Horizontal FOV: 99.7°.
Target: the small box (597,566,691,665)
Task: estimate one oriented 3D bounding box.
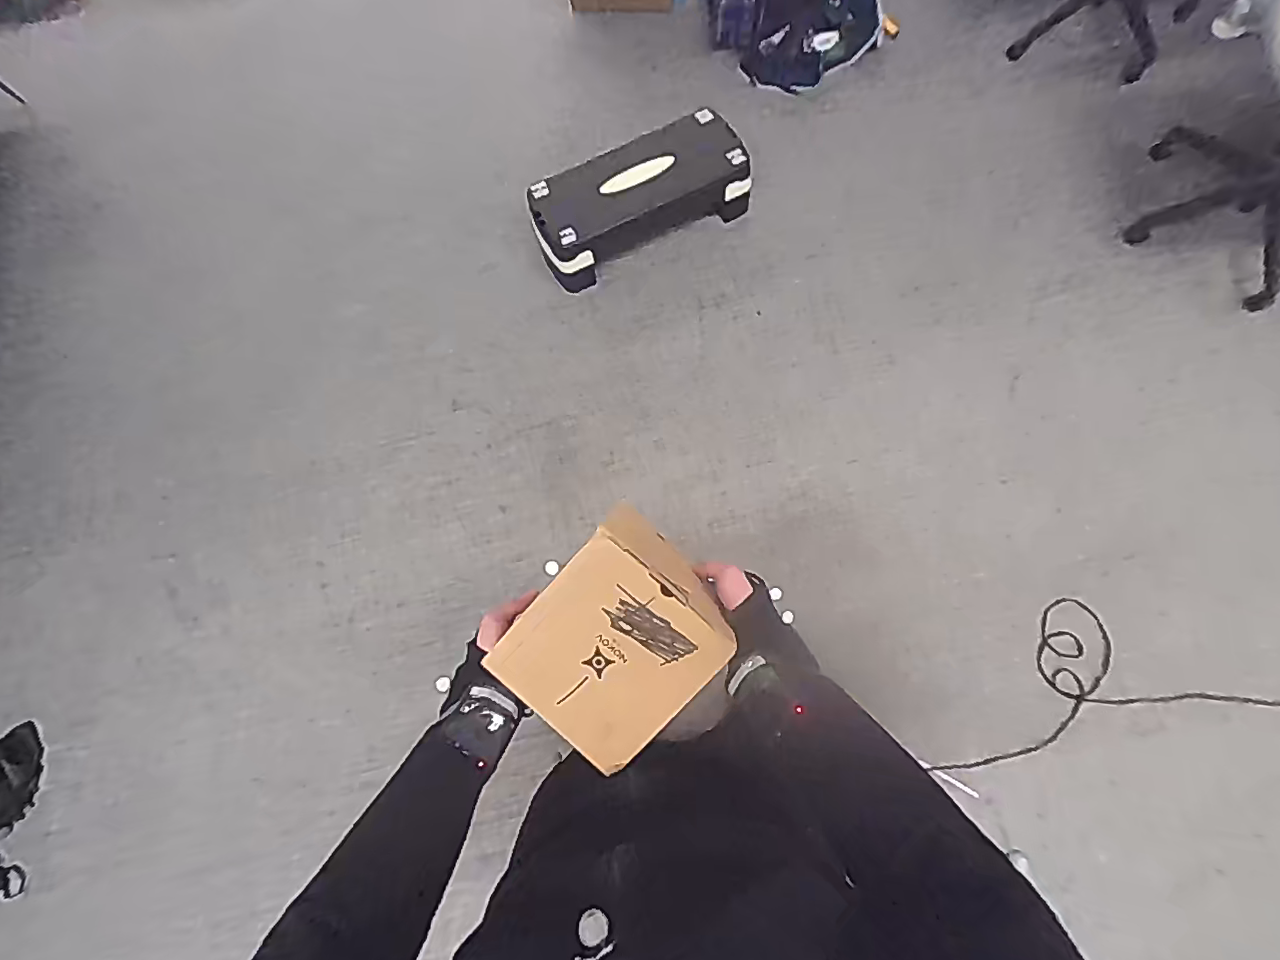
[{"bbox_3d":[0.016,0.341,1.347,0.168,0.176,0.179,28,76,12],"label":"small box"}]
